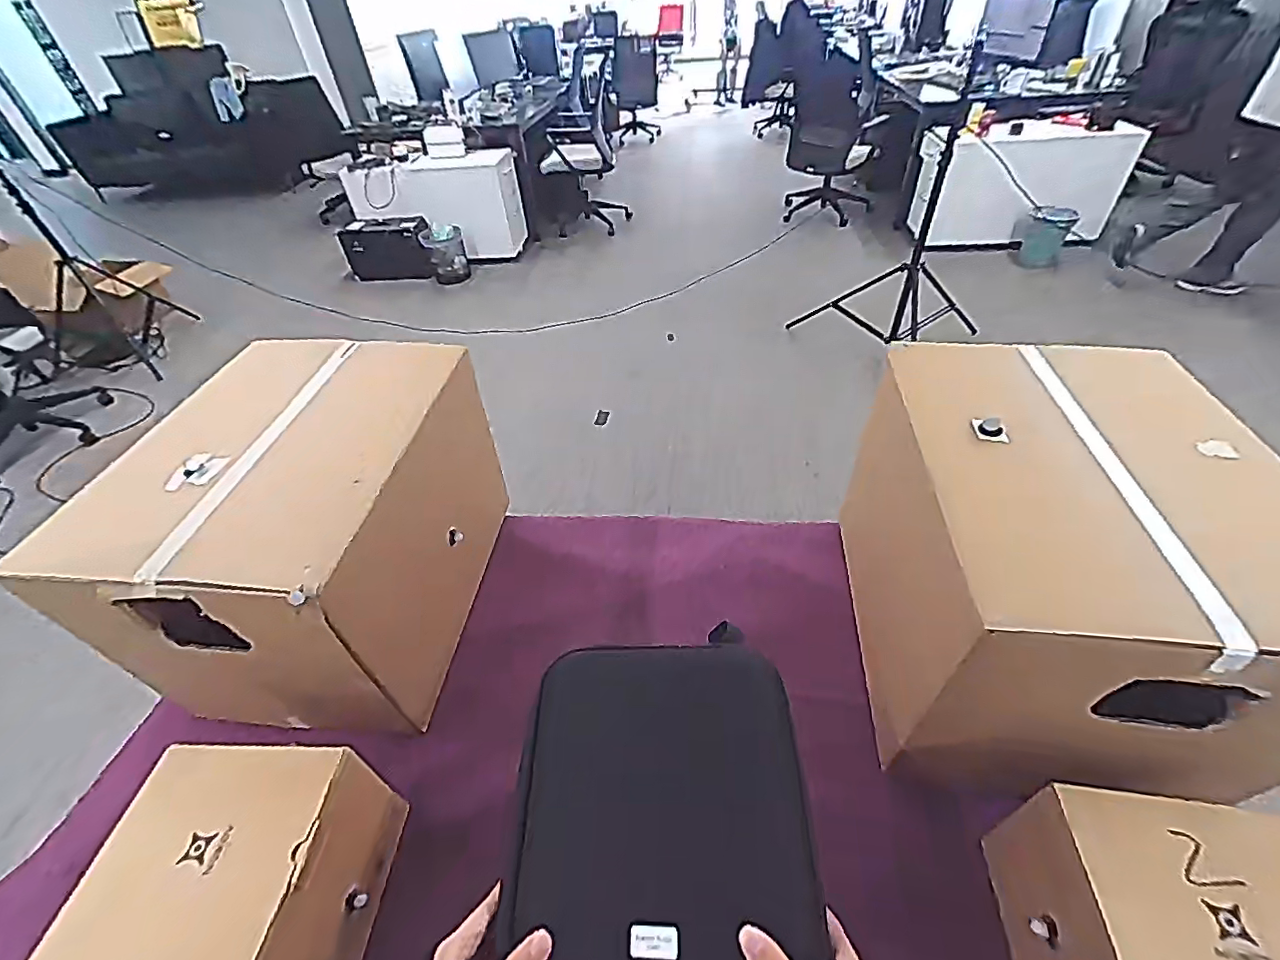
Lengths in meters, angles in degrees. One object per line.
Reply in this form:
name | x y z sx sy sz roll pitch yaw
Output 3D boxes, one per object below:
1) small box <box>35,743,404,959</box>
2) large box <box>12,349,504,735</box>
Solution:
small box | -0.353 0.363 0.502 0.179 0.176 0.168 -1 42 2
large box | -0.399 0.069 0.717 0.320 0.320 0.408 1 46 5
